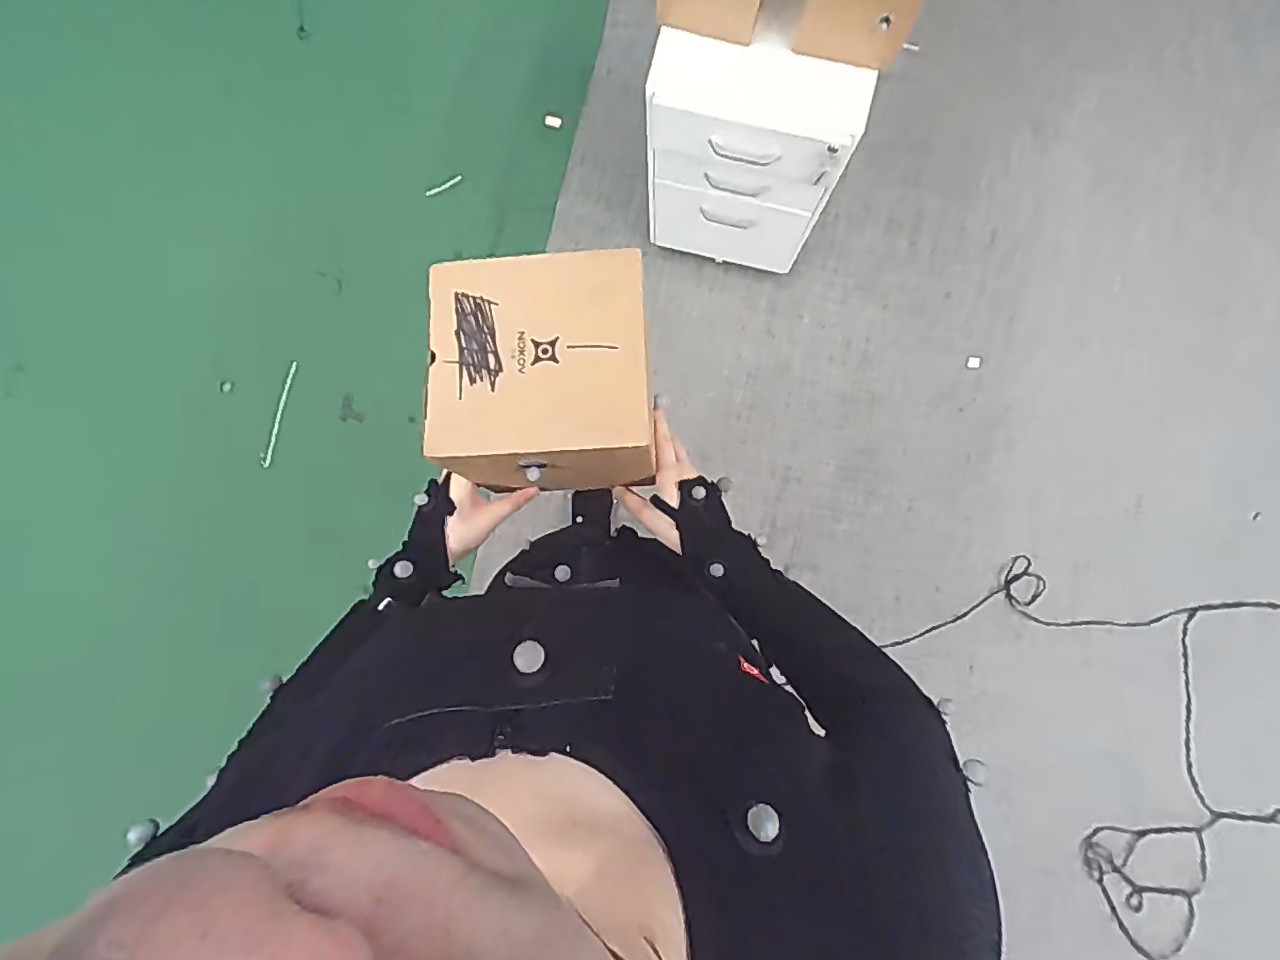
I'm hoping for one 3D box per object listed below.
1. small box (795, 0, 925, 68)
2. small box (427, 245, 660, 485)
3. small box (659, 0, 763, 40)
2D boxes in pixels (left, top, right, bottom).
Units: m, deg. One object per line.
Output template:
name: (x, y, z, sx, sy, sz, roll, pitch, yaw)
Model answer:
small box: (0.370, -0.818, 0.876, 0.179, 0.176, 0.168, 14, 86, 4)
small box: (-0.073, -0.090, 0.500, 0.179, 0.176, 0.168, -2, 80, 3)
small box: (0.131, -0.876, 0.885, 0.179, 0.176, 0.168, 15, 88, 2)
